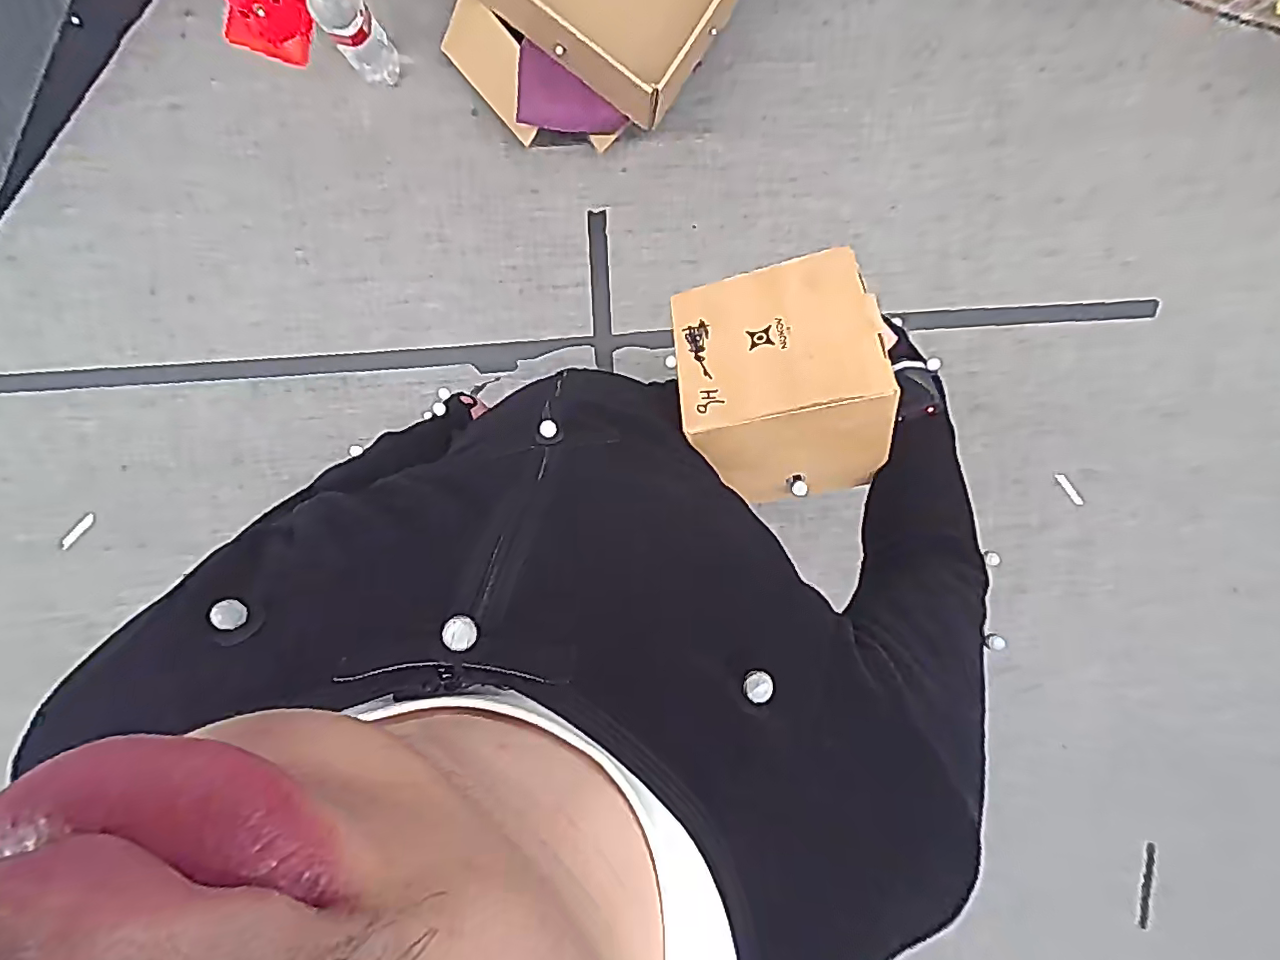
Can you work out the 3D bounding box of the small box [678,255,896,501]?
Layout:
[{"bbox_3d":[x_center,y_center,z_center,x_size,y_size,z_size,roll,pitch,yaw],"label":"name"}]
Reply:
[{"bbox_3d":[0.146,-0.093,0.563,0.179,0.176,0.168,-10,61,15],"label":"small box"}]
